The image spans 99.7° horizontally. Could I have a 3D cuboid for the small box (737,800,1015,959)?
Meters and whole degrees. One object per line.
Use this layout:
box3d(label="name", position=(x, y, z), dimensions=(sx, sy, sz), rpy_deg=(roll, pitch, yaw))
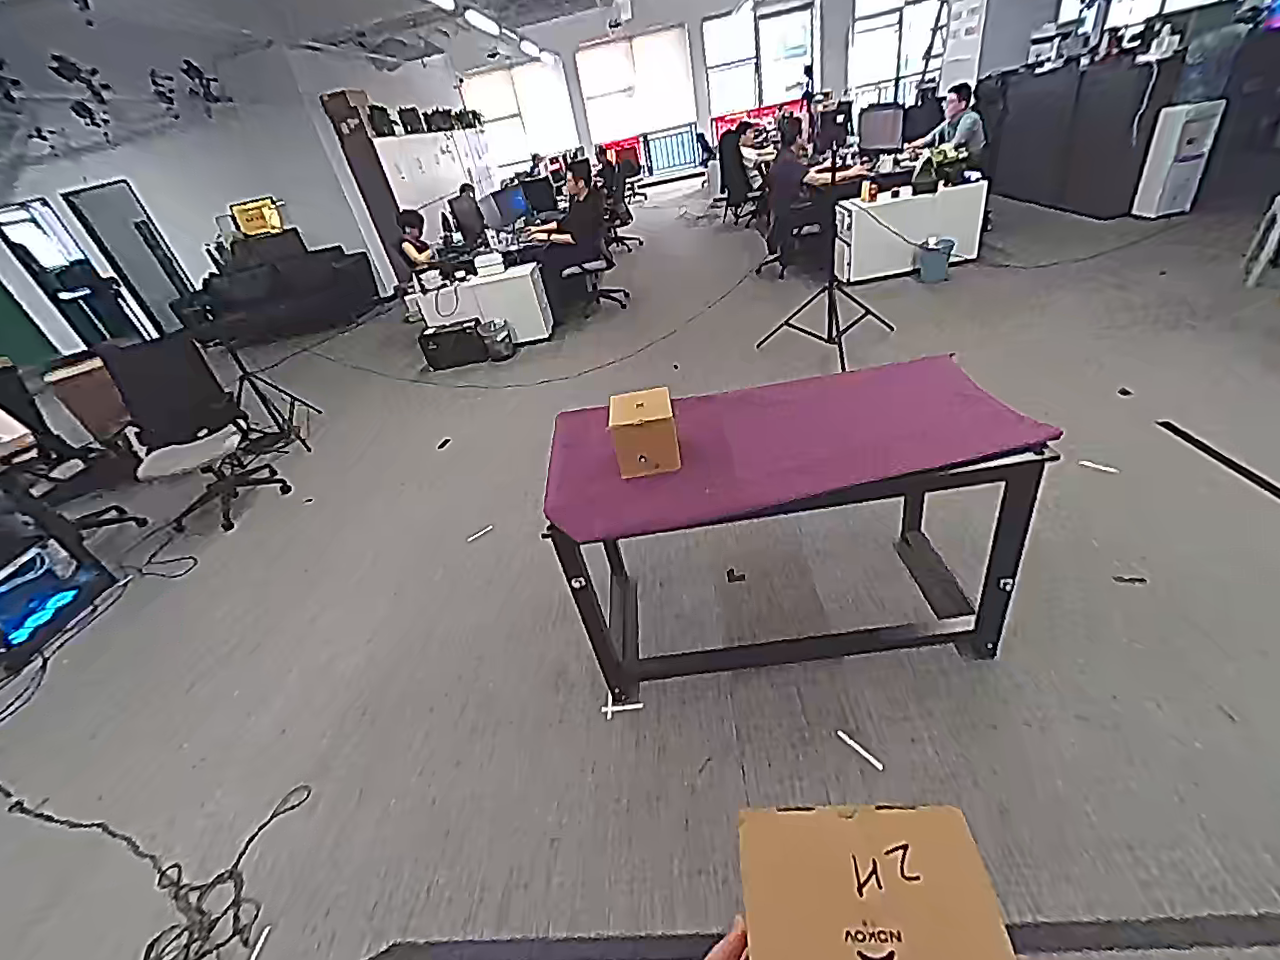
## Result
box3d(label="small box", position=(0.164, 0.361, 0.399), dimensions=(0.168, 0.176, 0.179), rpy_deg=(-4, 40, 7))

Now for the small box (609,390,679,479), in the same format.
box3d(label="small box", position=(0.011, -0.125, 1.479), dimensions=(0.168, 0.176, 0.179), rpy_deg=(-9, 35, 4))
